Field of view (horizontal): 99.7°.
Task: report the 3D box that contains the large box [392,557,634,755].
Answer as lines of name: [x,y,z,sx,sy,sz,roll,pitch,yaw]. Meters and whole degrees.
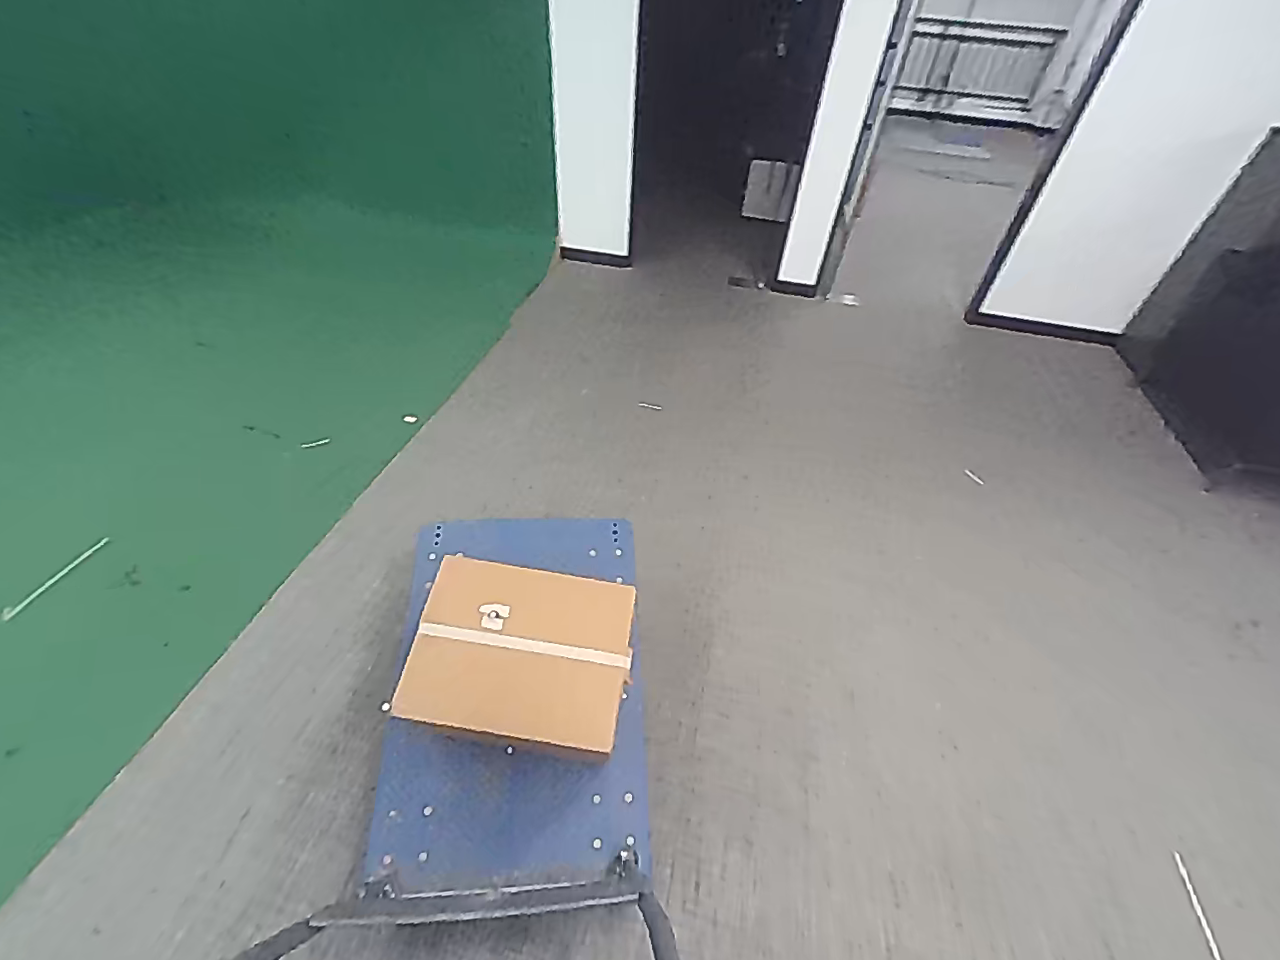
large box: [-0.235,0.390,1.164,0.408,0.320,0.320,10,59,1]
